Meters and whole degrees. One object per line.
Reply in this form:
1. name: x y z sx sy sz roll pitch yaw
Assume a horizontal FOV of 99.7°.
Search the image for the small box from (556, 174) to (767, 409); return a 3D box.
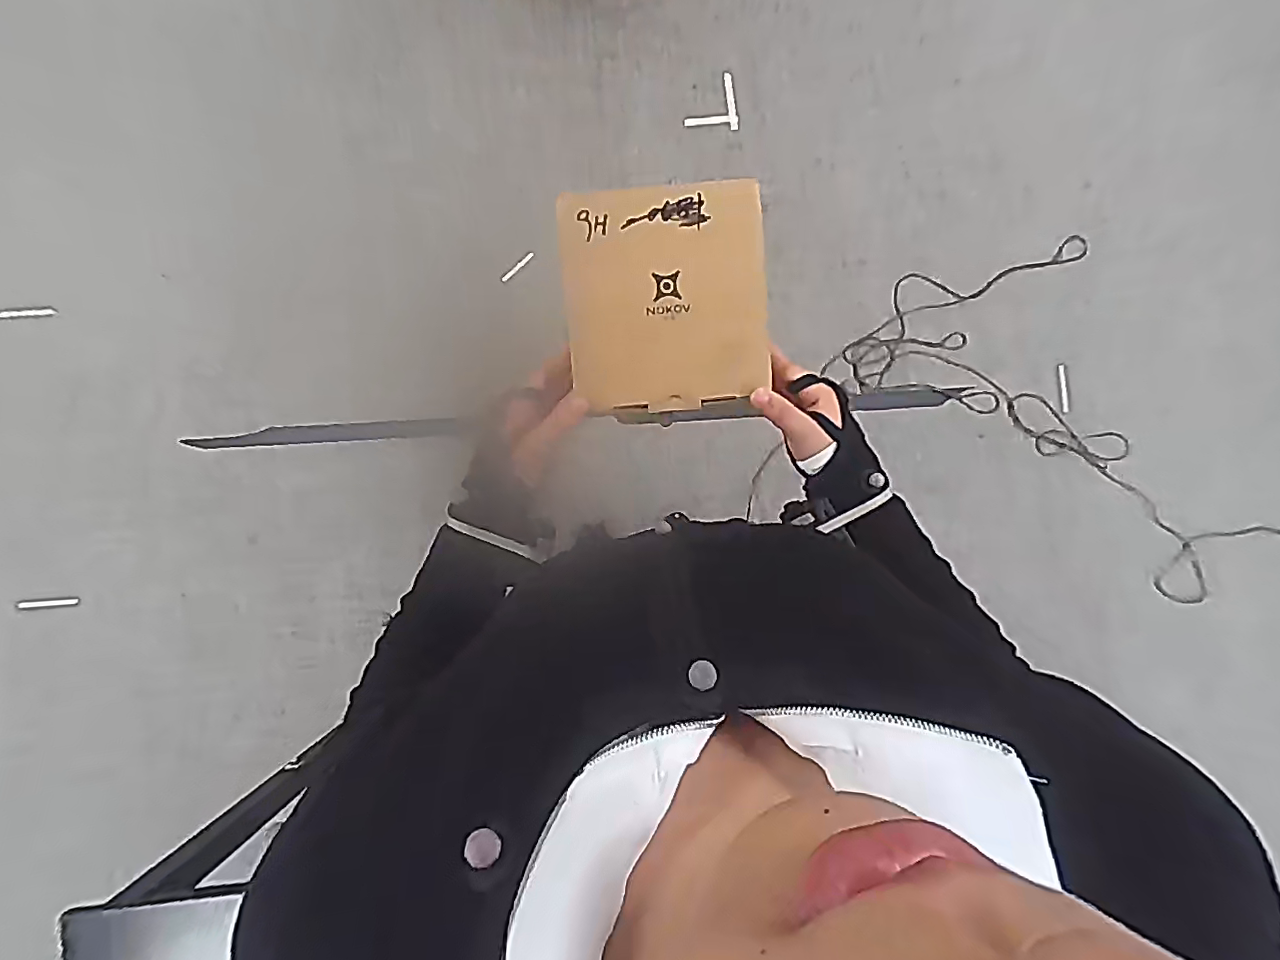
1. small box: 0.019 -0.162 0.521 0.168 0.176 0.179 -5 97 -1
